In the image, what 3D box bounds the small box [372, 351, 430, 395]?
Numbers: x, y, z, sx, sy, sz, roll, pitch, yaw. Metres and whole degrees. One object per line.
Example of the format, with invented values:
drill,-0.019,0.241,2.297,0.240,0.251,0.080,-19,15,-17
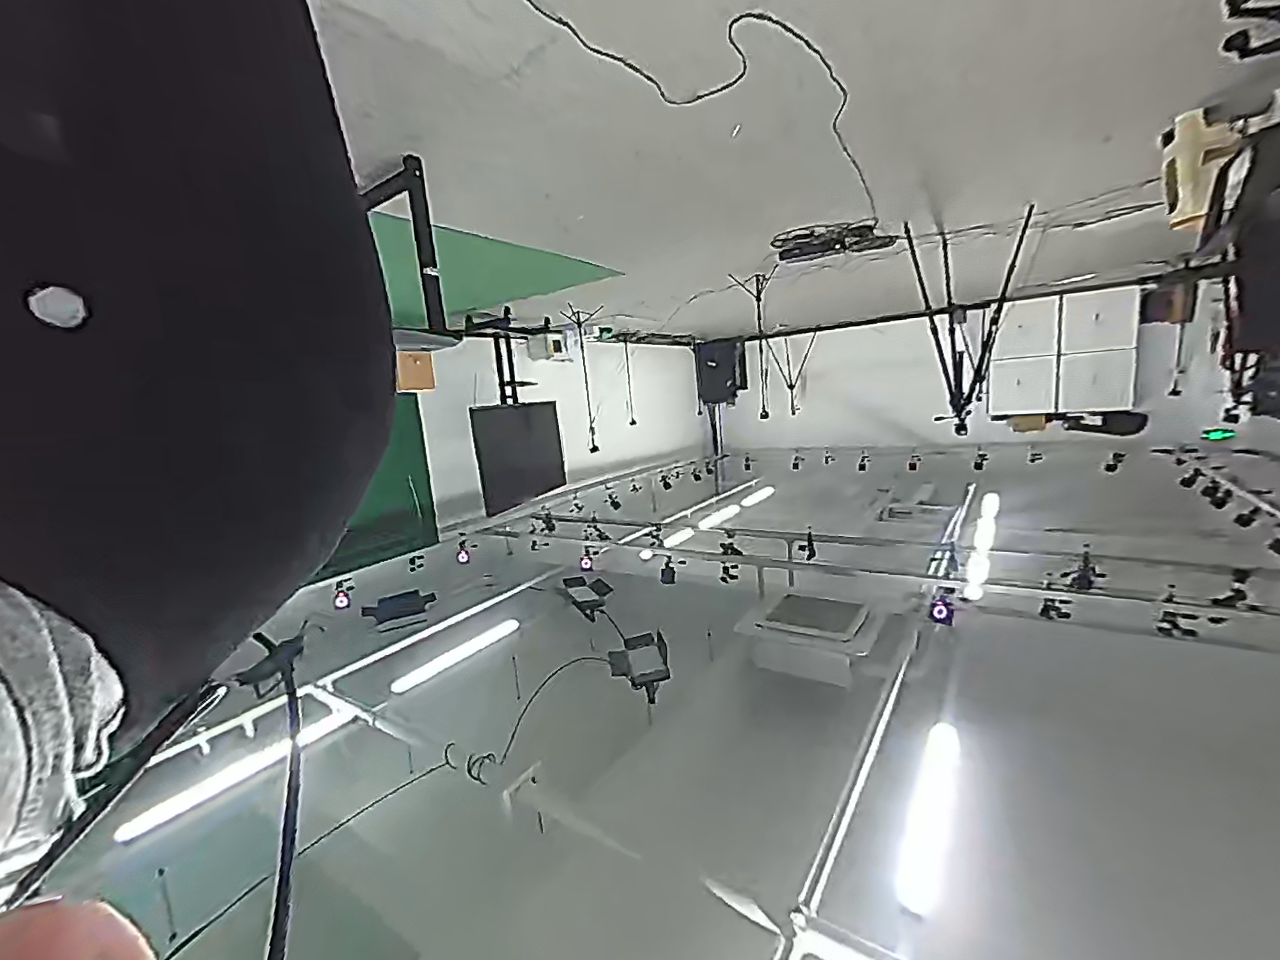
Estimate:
small box,-1.035,-0.462,2.334,0.179,0.176,0.168,1,-169,36
